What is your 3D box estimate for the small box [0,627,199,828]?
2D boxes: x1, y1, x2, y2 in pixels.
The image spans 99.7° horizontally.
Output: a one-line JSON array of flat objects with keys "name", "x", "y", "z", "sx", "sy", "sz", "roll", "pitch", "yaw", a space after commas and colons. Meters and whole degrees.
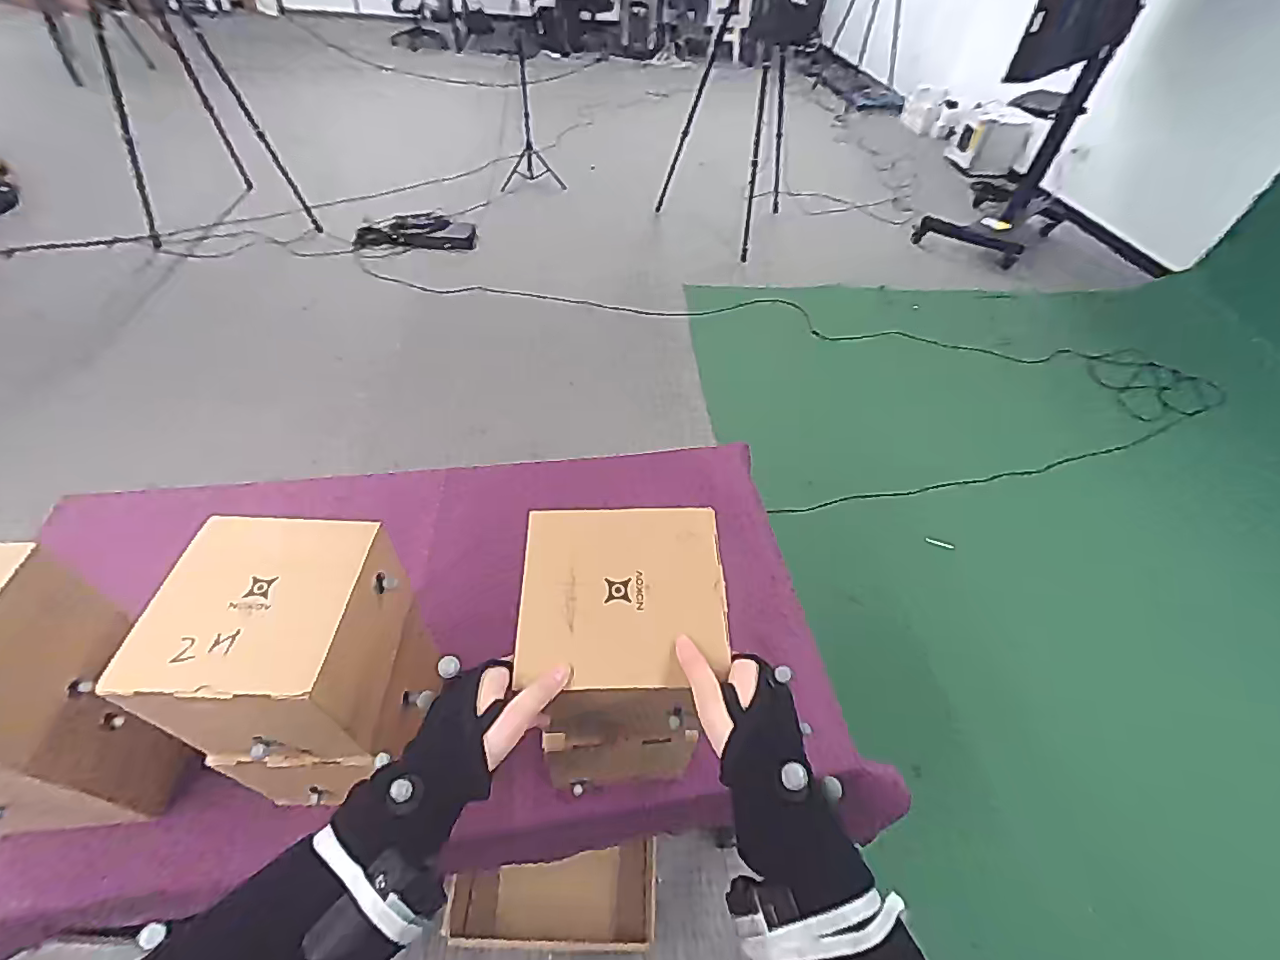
[{"name": "small box", "x": -0.646, "y": 0.285, "z": 0.620, "sx": 0.179, "sy": 0.176, "sz": 0.168, "roll": -2, "pitch": 49, "yaw": -5}]

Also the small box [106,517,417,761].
[{"name": "small box", "x": -0.340, "y": 0.159, "z": 0.538, "sx": 0.168, "sy": 0.176, "sz": 0.179, "roll": 3, "pitch": 49, "yaw": -1}]

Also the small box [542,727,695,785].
[{"name": "small box", "x": -0.031, "y": 0.270, "z": 0.681, "sx": 0.168, "sy": 0.176, "sz": 0.179, "roll": -2, "pitch": 48, "yaw": -6}]

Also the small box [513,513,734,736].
[{"name": "small box", "x": -0.013, "y": 0.146, "z": 0.531, "sx": 0.179, "sy": 0.176, "sz": 0.168, "roll": -1, "pitch": 54, "yaw": 0}]

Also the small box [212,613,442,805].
[{"name": "small box", "x": -0.351, "y": 0.275, "z": 0.655, "sx": 0.168, "sy": 0.176, "sz": 0.179, "roll": 2, "pitch": 49, "yaw": -3}]
